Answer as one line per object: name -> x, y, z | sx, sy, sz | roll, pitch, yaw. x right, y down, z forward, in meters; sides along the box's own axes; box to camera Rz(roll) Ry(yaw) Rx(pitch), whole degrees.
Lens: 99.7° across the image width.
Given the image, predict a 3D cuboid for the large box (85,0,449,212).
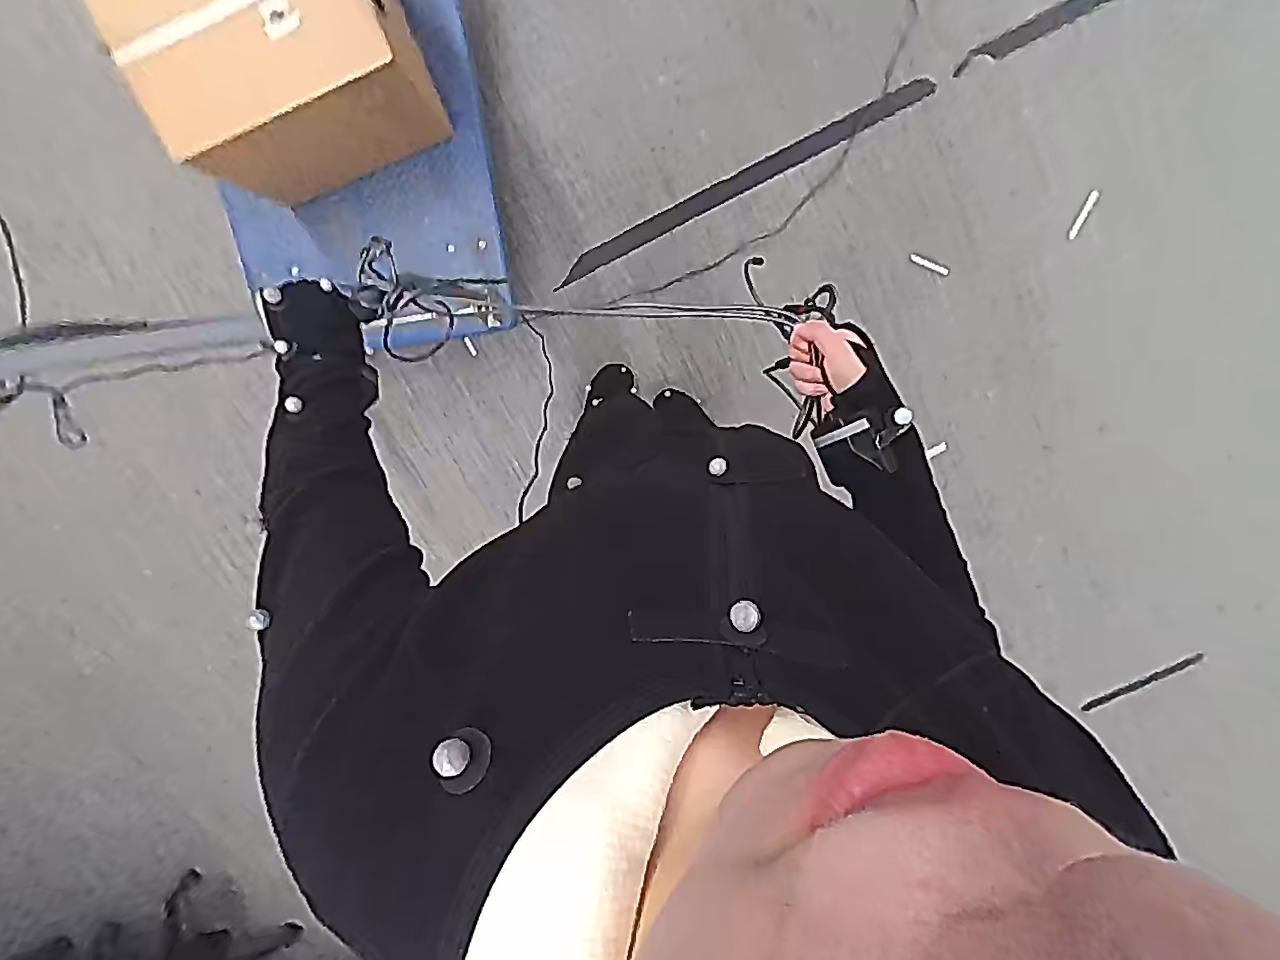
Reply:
large box -> -0.634, -0.754, 0.979 | 0.408, 0.320, 0.320 | -22, 103, 3
